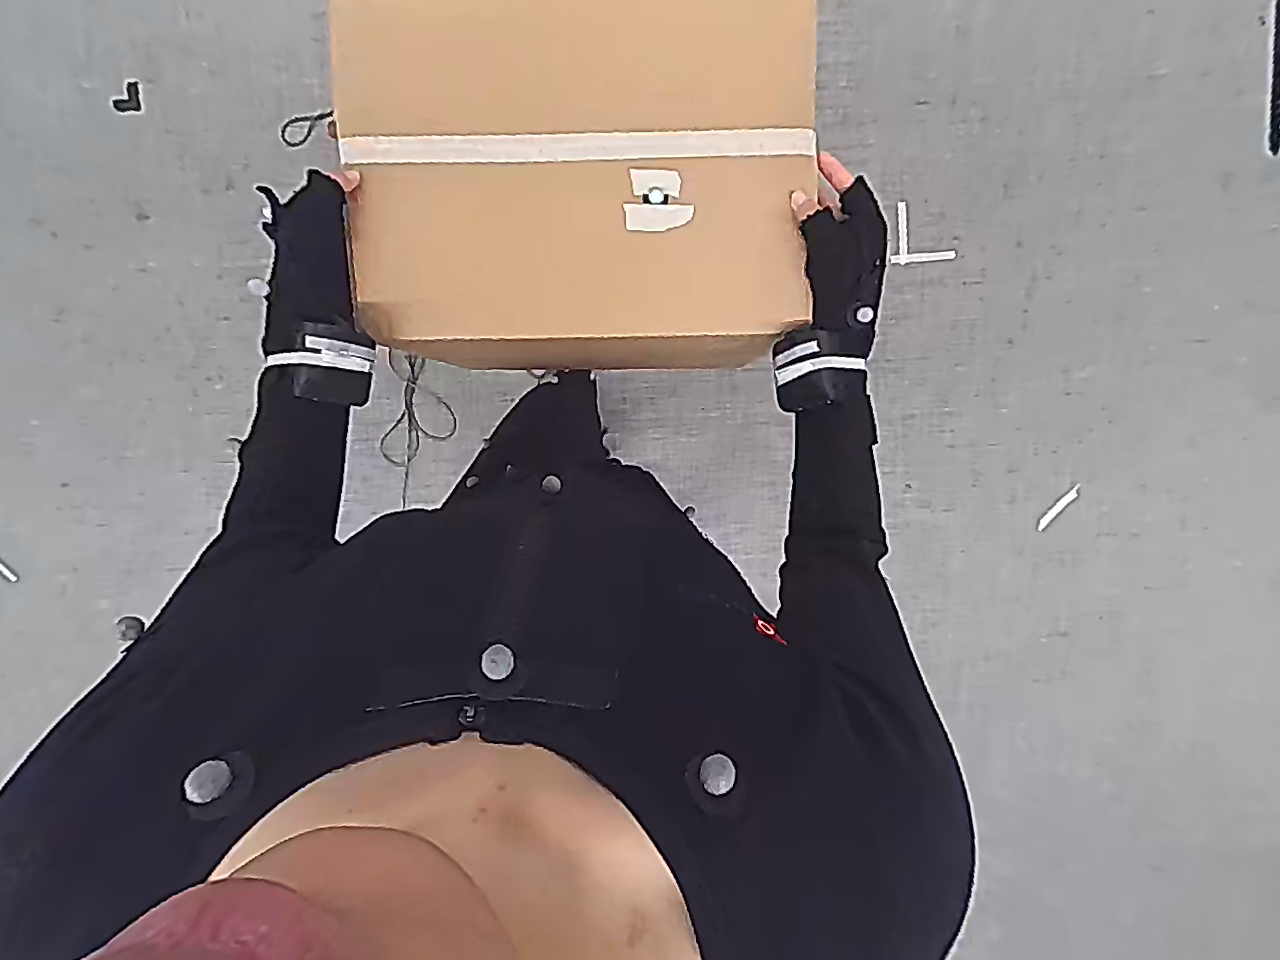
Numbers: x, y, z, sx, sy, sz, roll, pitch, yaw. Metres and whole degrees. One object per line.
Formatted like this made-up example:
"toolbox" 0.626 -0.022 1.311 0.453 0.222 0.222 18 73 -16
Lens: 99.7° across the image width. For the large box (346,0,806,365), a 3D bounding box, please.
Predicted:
"large box" -0.054 -0.310 0.627 0.408 0.320 0.320 -1 97 -1
